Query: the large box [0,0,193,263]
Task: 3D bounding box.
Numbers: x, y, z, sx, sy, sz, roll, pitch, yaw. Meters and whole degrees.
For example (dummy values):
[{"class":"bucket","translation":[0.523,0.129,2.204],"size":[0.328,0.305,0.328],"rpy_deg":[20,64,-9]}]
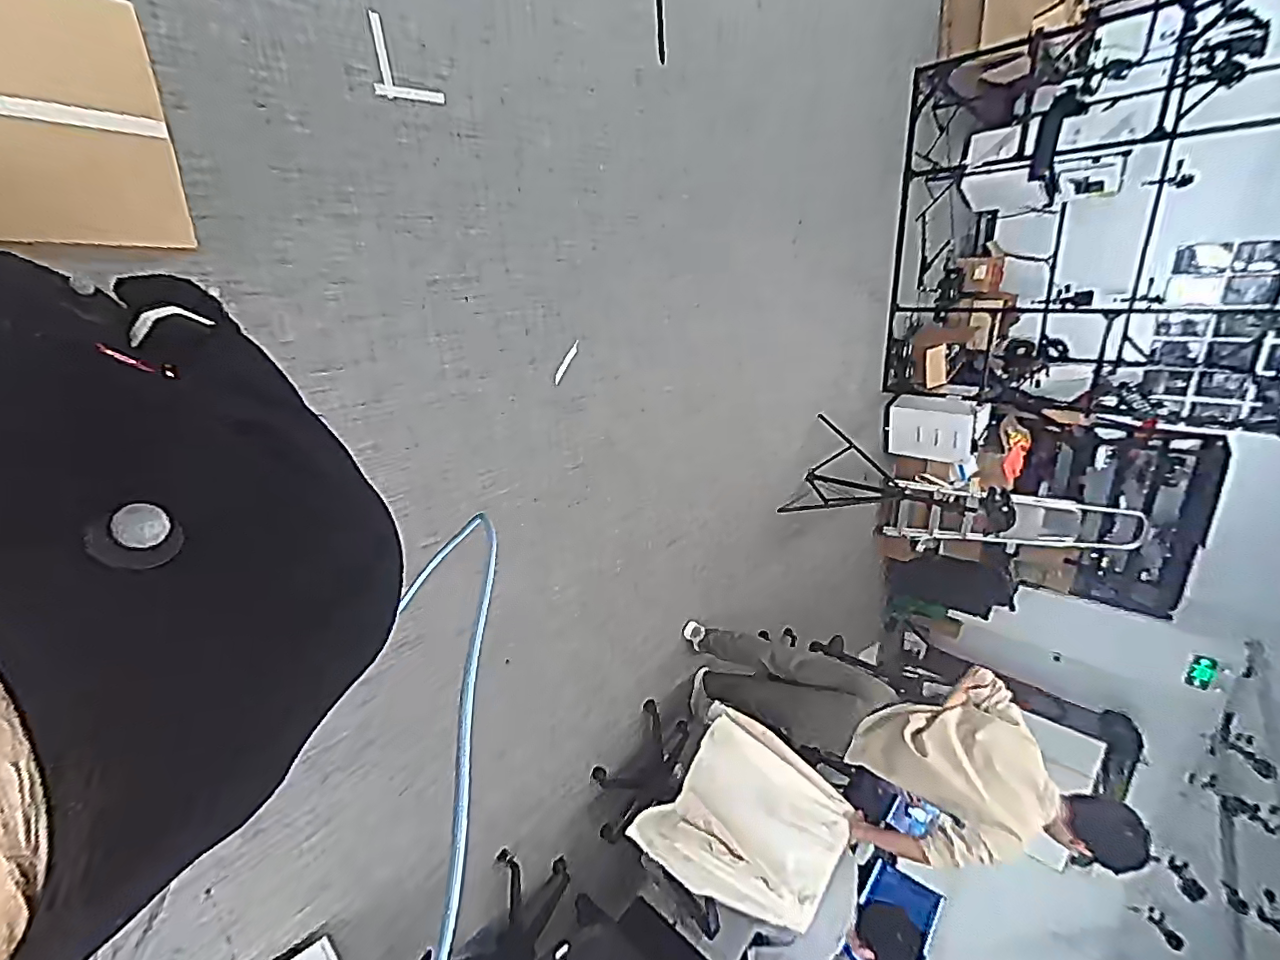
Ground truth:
[{"class":"large box","translation":[-0.934,-0.474,0.739],"size":[0.408,0.320,0.320],"rpy_deg":[-21,117,-44]}]
